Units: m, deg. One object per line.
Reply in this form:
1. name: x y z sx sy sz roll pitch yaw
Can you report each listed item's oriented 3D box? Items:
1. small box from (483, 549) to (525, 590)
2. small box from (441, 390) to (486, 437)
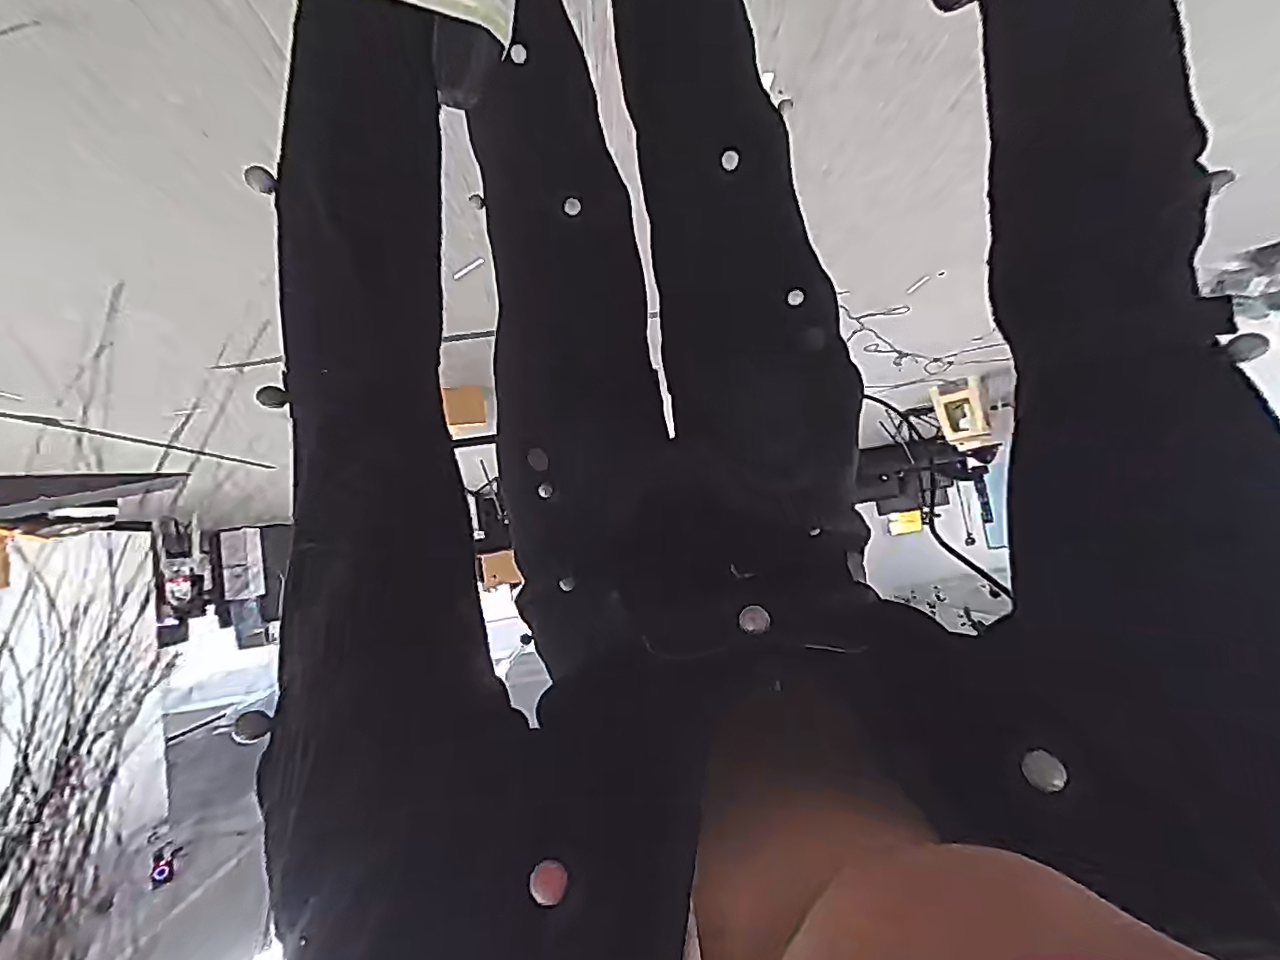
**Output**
1. small box: -0.665 0.435 2.638 0.179 0.176 0.168 -9 175 -7
2. small box: -0.806 -0.305 2.457 0.179 0.176 0.168 -8 174 -22
